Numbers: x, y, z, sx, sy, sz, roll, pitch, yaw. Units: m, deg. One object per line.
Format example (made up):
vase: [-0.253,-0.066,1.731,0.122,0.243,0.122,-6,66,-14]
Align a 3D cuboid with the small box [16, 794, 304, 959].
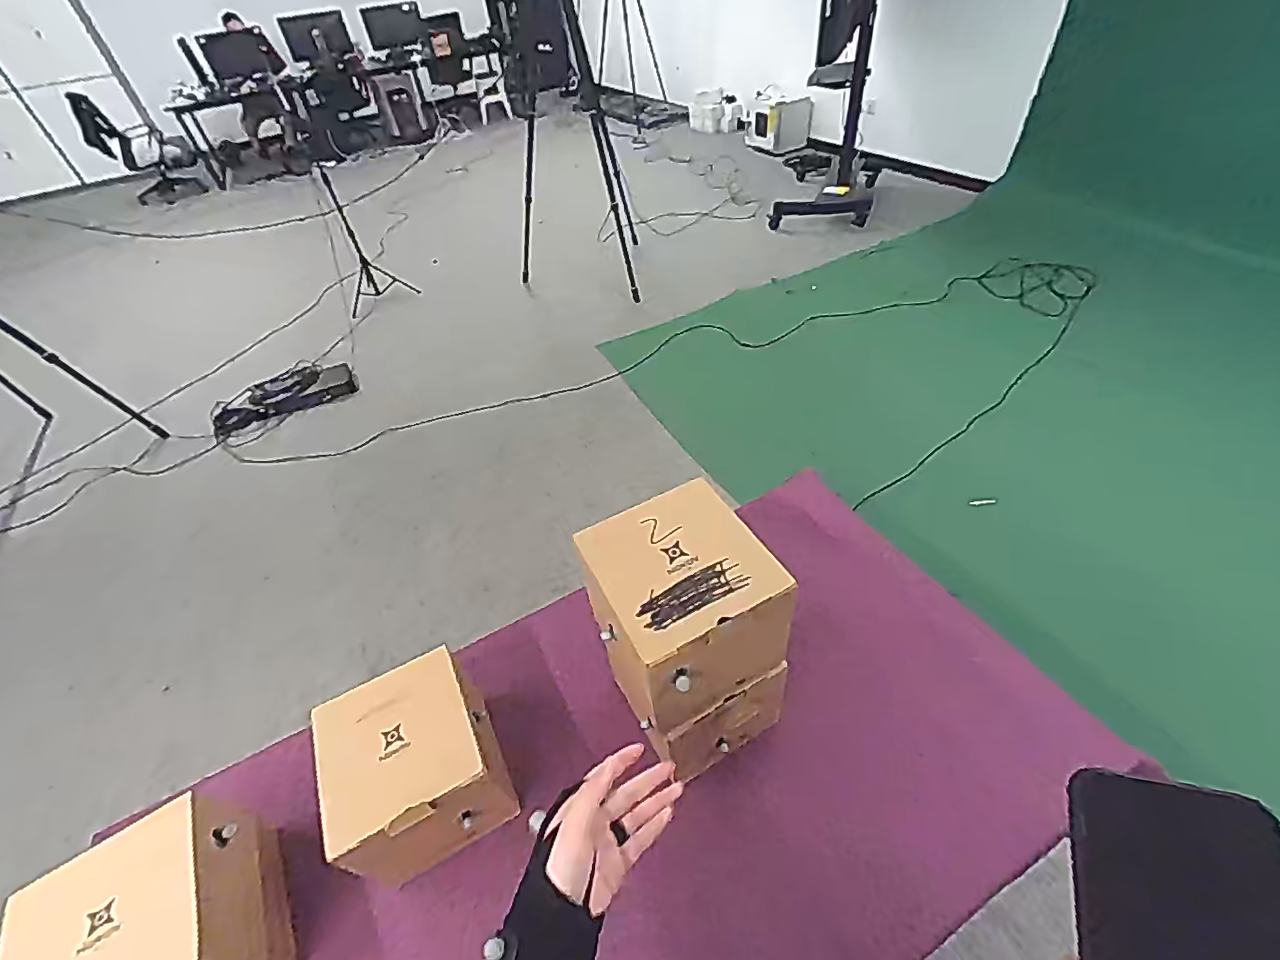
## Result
small box: [-0.492,0.483,0.572,0.168,0.176,0.179,-30,49,-19]

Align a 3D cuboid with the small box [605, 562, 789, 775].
small box: [0.071,0.249,0.717,0.168,0.176,0.179,-26,48,-16]

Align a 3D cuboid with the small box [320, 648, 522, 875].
small box: [-0.263,0.350,0.669,0.168,0.176,0.179,-24,47,-16]
